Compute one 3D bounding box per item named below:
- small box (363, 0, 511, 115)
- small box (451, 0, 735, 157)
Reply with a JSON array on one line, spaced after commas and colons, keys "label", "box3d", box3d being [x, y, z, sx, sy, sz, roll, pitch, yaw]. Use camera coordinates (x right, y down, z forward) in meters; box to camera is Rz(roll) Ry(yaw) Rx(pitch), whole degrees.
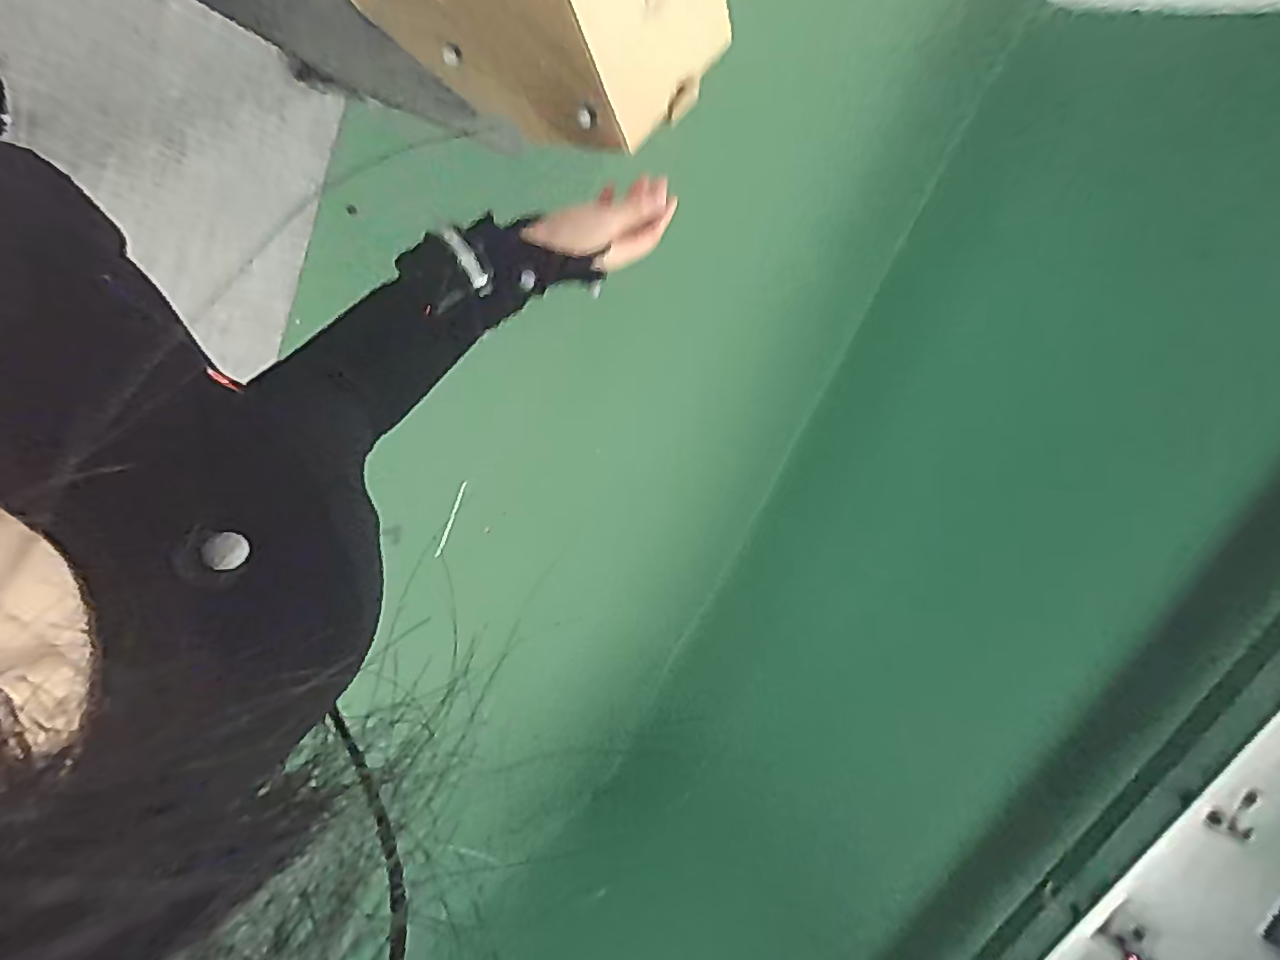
[{"label": "small box", "box3d": [-0.156, -0.513, 0.567, 0.179, 0.176, 0.168, 15, 104, -54]}, {"label": "small box", "box3d": [-0.046, -0.426, 0.481, 0.168, 0.176, 0.179, -52, 146, -9]}]
